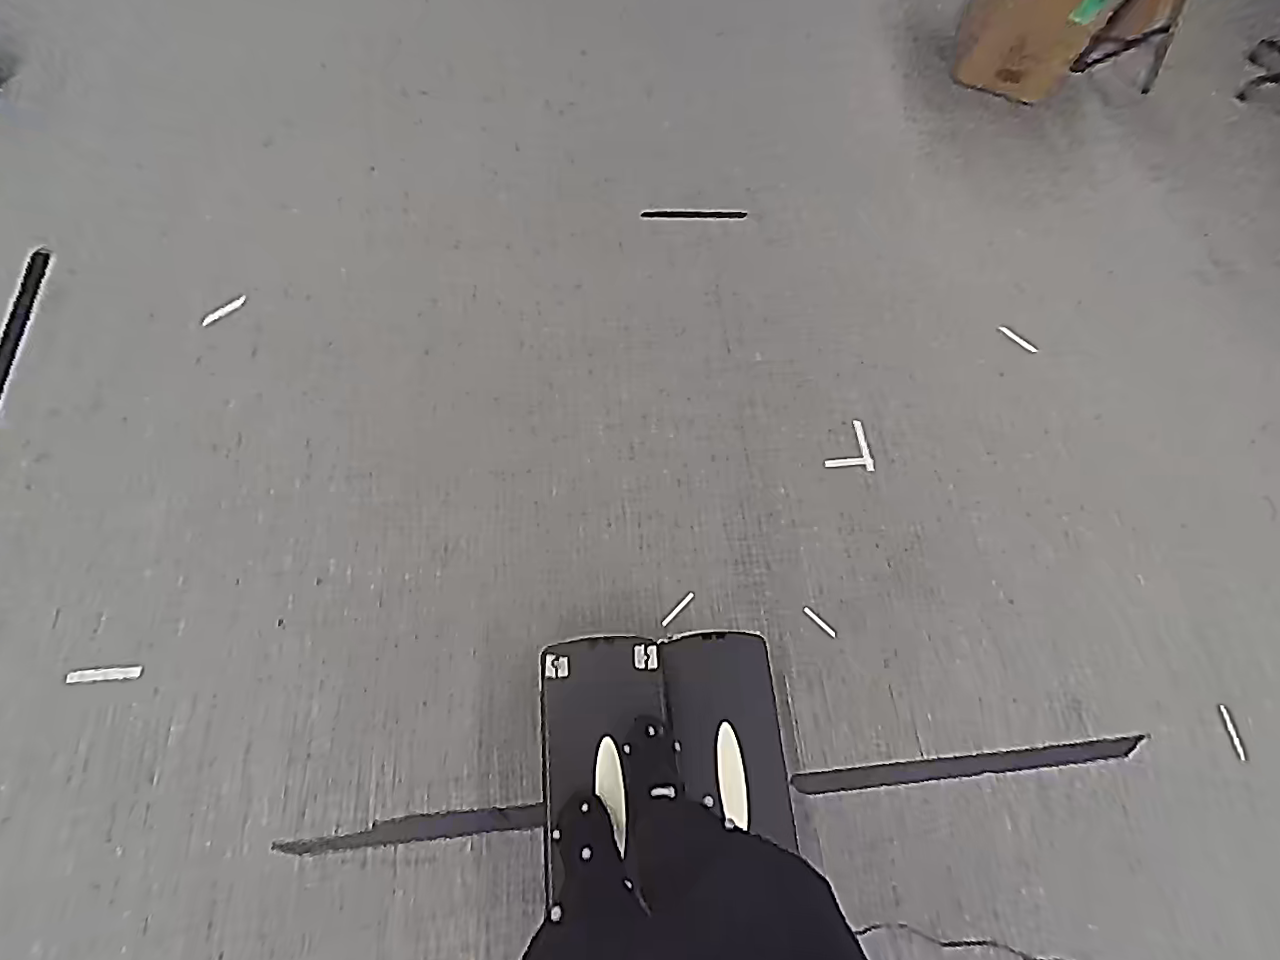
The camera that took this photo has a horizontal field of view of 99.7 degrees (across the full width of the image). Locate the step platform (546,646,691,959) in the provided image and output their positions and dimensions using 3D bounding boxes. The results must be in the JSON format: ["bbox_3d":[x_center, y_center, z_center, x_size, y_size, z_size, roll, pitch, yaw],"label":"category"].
[{"bbox_3d":[-0.052,0.721,1.188,0.286,0.204,0.684,1,66,-6],"label":"step platform"}]
